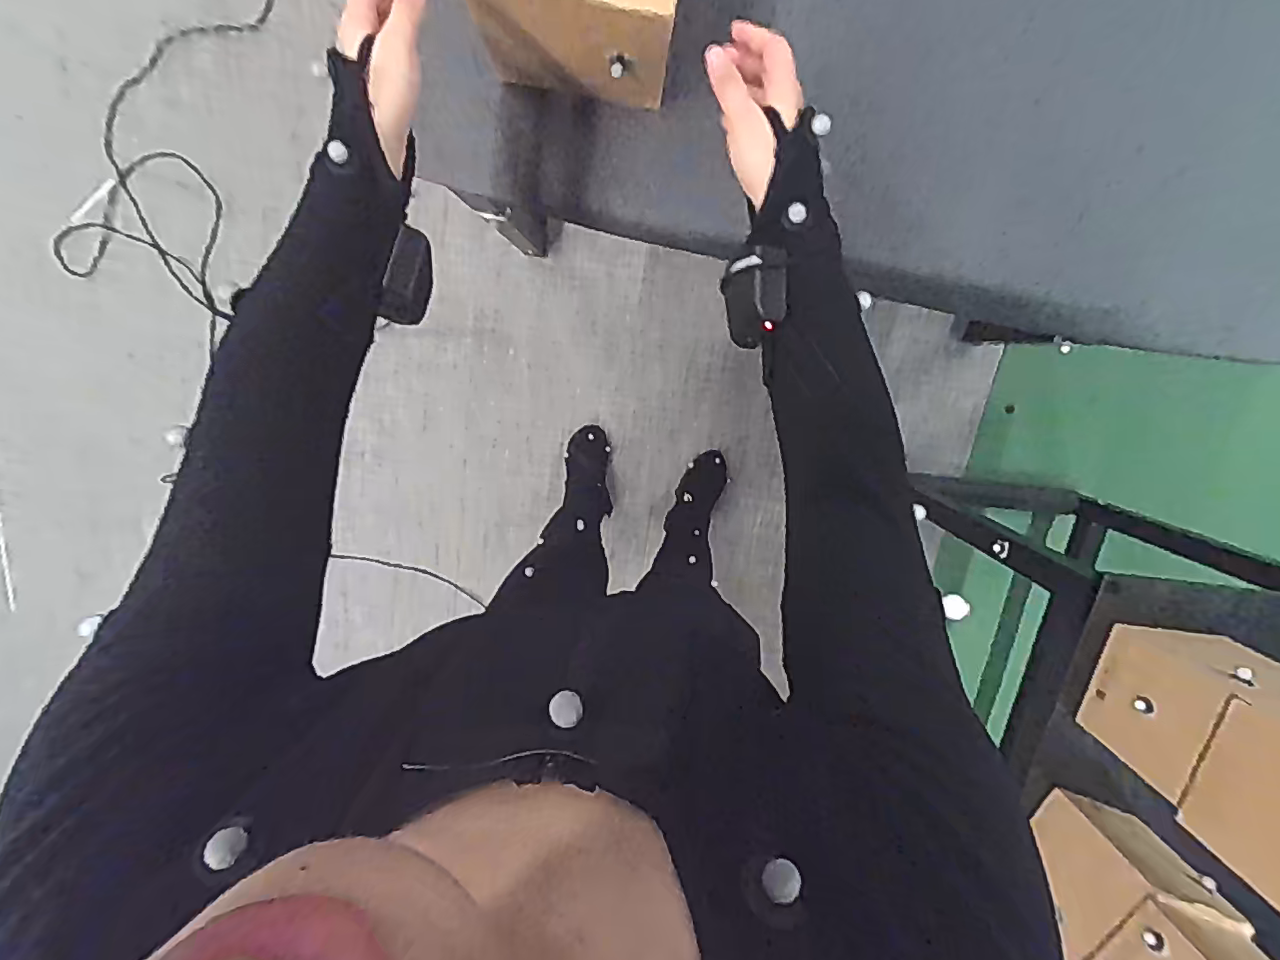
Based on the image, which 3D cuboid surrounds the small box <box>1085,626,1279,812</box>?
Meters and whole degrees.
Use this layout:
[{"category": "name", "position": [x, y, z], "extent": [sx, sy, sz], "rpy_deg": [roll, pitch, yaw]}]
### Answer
[{"category": "small box", "position": [0.744, 0.309, 0.704], "extent": [0.179, 0.176, 0.168], "rpy_deg": [7, 105, -4]}]

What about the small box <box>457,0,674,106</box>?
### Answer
[{"category": "small box", "position": [-0.054, -0.468, 0.482], "extent": [0.179, 0.176, 0.168], "rpy_deg": [7, 101, -3]}]

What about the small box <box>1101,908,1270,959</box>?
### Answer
[{"category": "small box", "position": [0.678, 0.646, 0.621], "extent": [0.179, 0.176, 0.168], "rpy_deg": [25, 103, -8]}]

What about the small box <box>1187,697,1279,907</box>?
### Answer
[{"category": "small box", "position": [0.730, 0.354, 0.548], "extent": [0.168, 0.176, 0.179], "rpy_deg": [8, 104, -3]}]
